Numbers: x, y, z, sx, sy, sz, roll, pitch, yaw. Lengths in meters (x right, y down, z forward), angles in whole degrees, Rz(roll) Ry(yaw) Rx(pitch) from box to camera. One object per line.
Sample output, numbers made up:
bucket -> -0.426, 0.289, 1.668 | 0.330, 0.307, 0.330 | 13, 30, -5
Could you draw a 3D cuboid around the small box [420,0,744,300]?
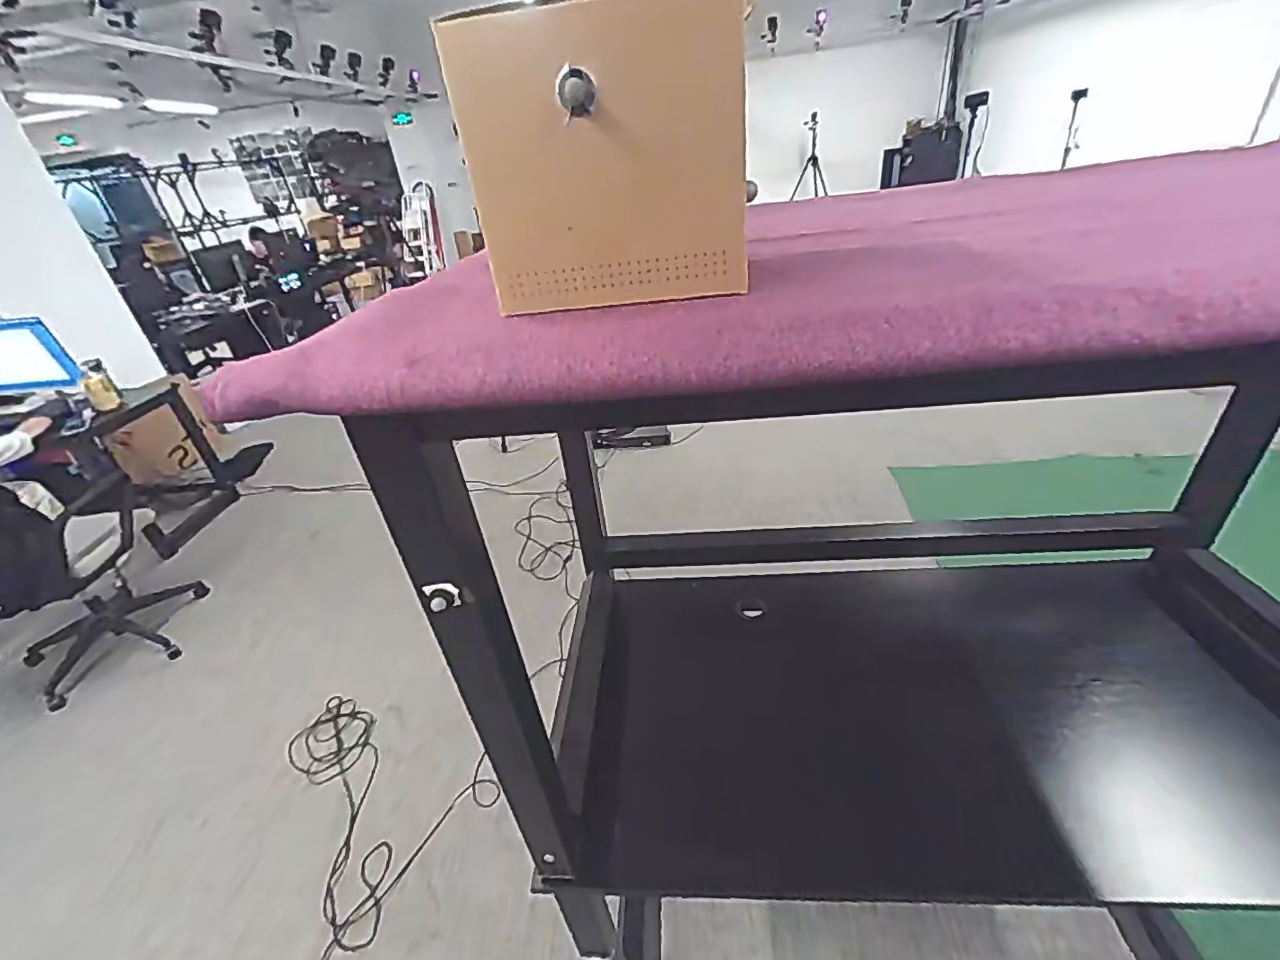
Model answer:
small box -> -0.021, -0.237, 0.391 | 0.179, 0.176, 0.168 | -4, 33, 6
